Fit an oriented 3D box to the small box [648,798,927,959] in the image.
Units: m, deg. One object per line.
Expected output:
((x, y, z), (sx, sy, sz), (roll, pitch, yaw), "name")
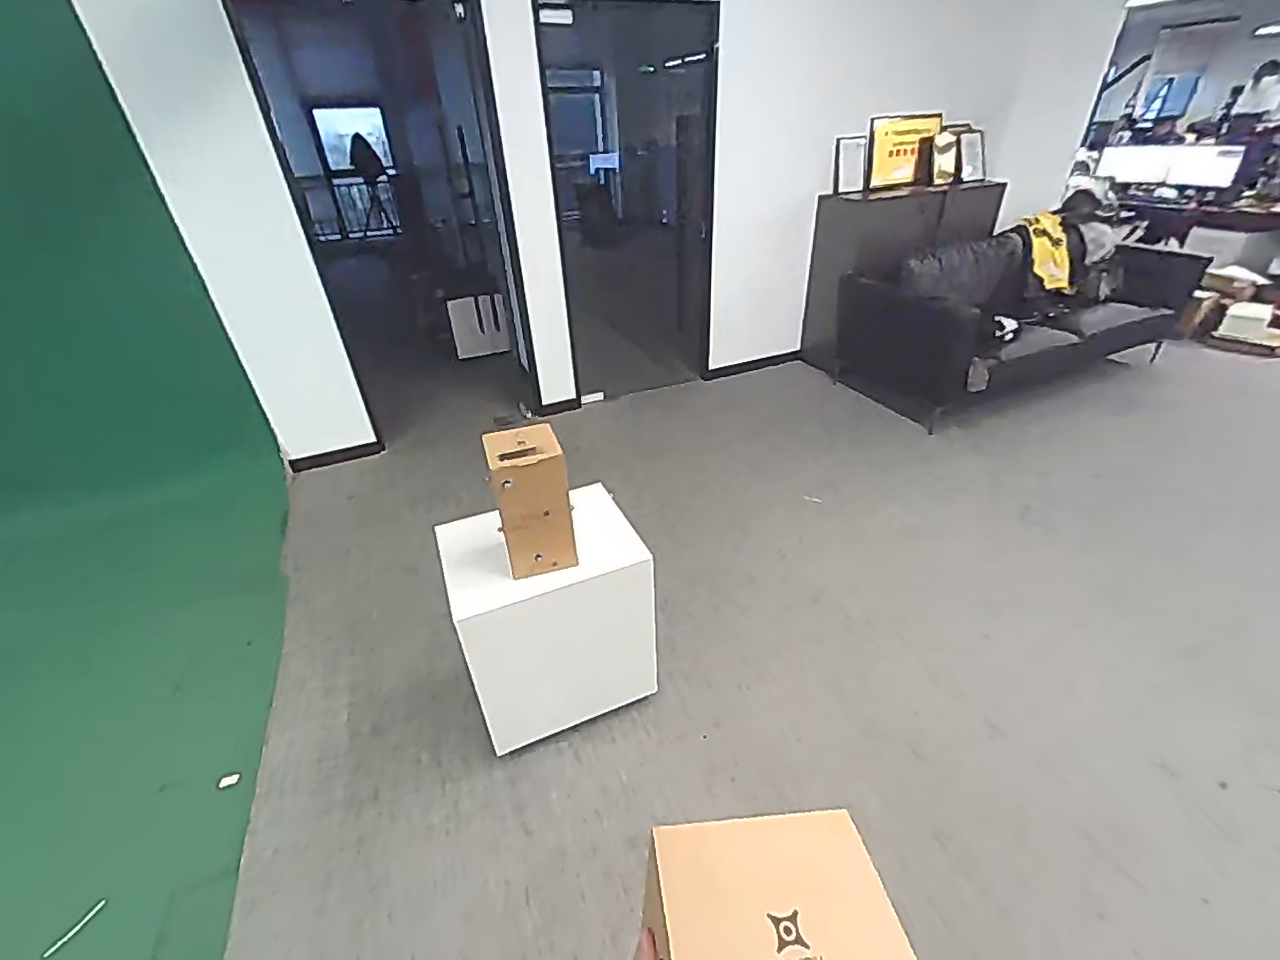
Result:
((0.100, 0.375, 0.400), (0.168, 0.176, 0.179), (-1, 28, -7), "small box")

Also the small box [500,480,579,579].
((-0.257, 0.124, 1.385), (0.168, 0.176, 0.179), (-12, 34, -13), "small box")
